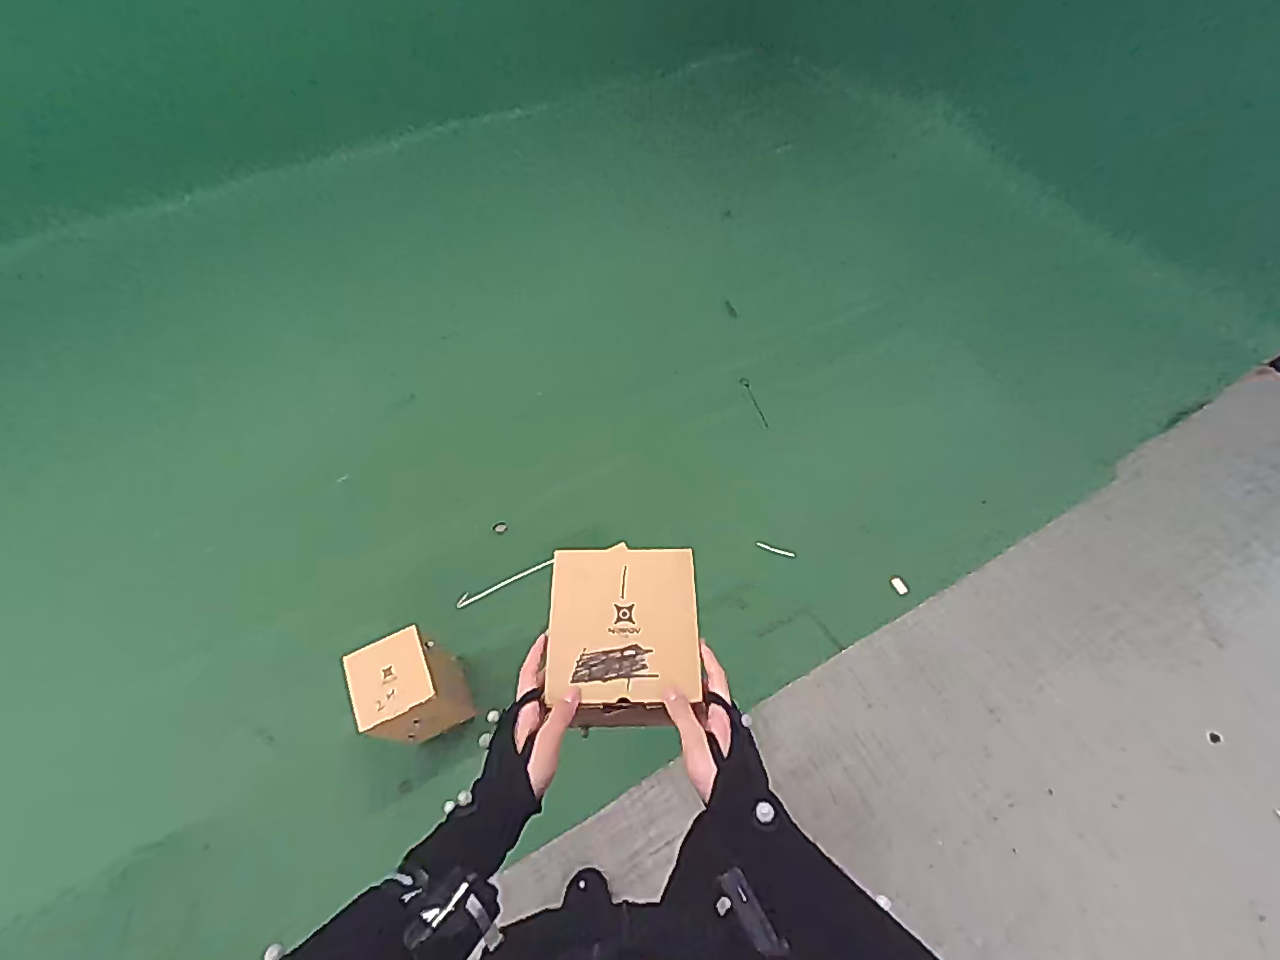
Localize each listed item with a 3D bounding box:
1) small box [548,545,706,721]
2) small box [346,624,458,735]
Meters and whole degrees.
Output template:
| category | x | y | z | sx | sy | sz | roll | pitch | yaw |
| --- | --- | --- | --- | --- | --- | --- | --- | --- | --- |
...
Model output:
| category | x | y | z | sx | sy | sz | roll | pitch | yaw |
| --- | --- | --- | --- | --- | --- | --- | --- | --- | --- |
| small box | -0.014 | 0.193 | 0.662 | 0.168 | 0.176 | 0.179 | 0 | 58 | -2 |
| small box | -0.540 | 0.462 | 1.241 | 0.168 | 0.176 | 0.179 | -24 | 63 | -12 |
